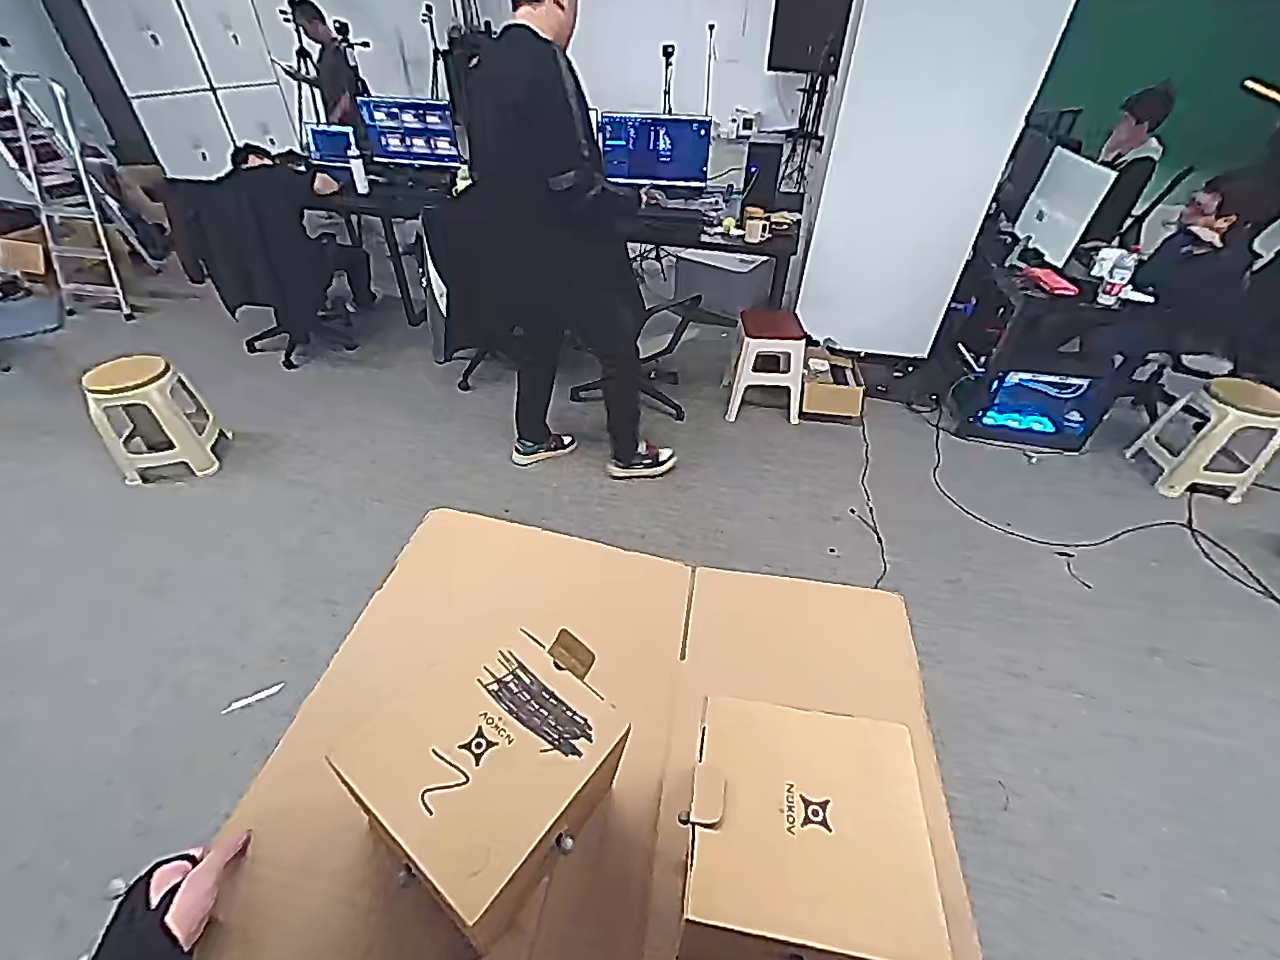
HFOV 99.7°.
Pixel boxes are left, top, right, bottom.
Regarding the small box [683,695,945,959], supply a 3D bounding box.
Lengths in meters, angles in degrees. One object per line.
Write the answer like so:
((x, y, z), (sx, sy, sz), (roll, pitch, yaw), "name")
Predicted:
((0.136, 0.321, 0.483), (0.179, 0.176, 0.168), (5, 42, 9), "small box")
